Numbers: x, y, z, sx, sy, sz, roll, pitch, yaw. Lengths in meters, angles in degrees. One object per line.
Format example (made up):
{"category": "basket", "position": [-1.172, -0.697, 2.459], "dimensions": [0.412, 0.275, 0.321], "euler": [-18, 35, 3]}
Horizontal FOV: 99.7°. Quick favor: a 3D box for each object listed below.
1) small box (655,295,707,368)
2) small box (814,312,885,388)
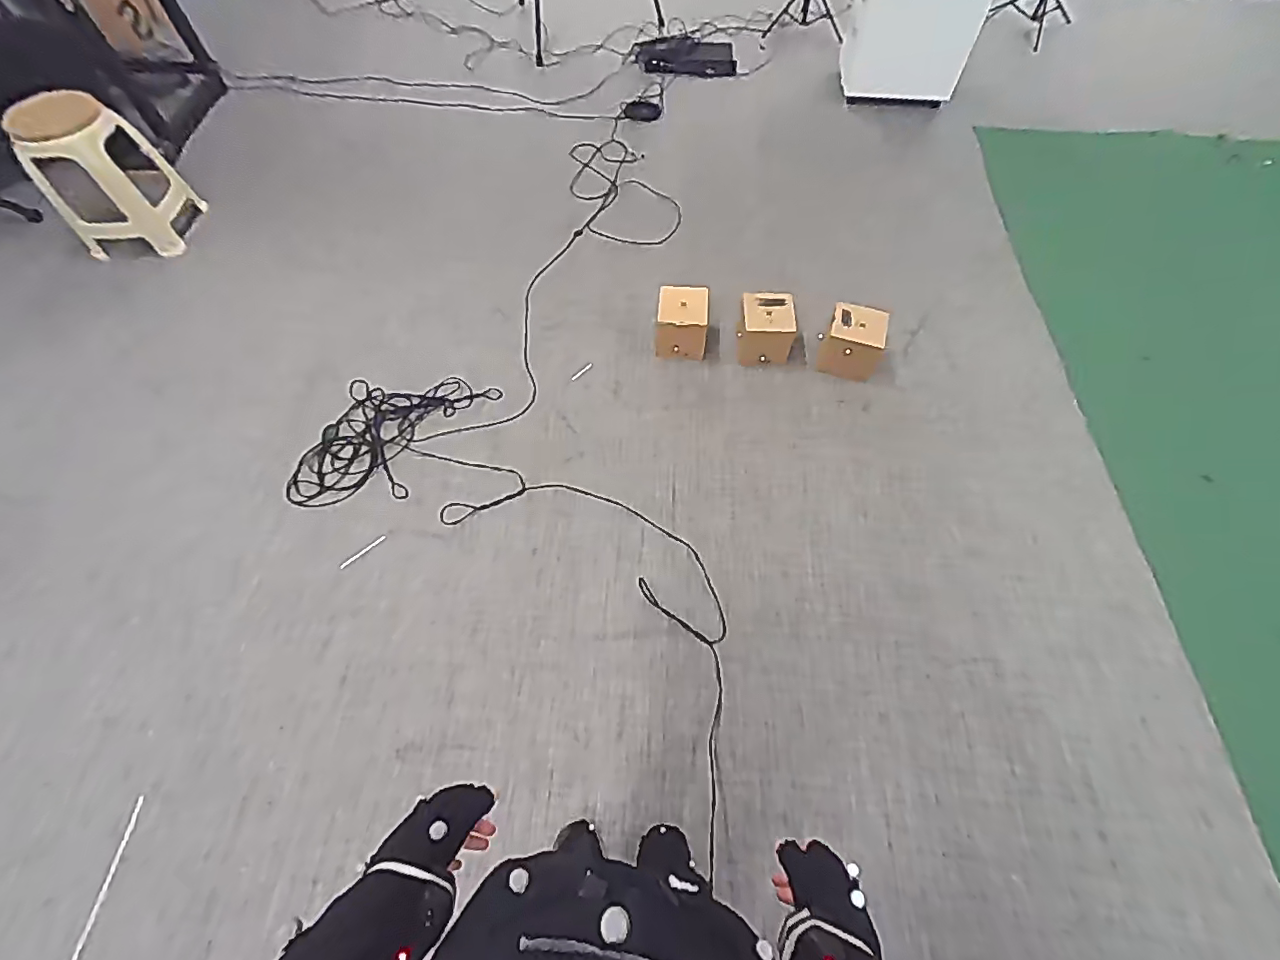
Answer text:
{"category": "small box", "position": [0.142, -0.514, 1.881], "dimensions": [0.168, 0.176, 0.179], "euler": [3, 60, 2]}
{"category": "small box", "position": [0.705, -0.437, 1.833], "dimensions": [0.179, 0.176, 0.168], "euler": [16, 61, 8]}
